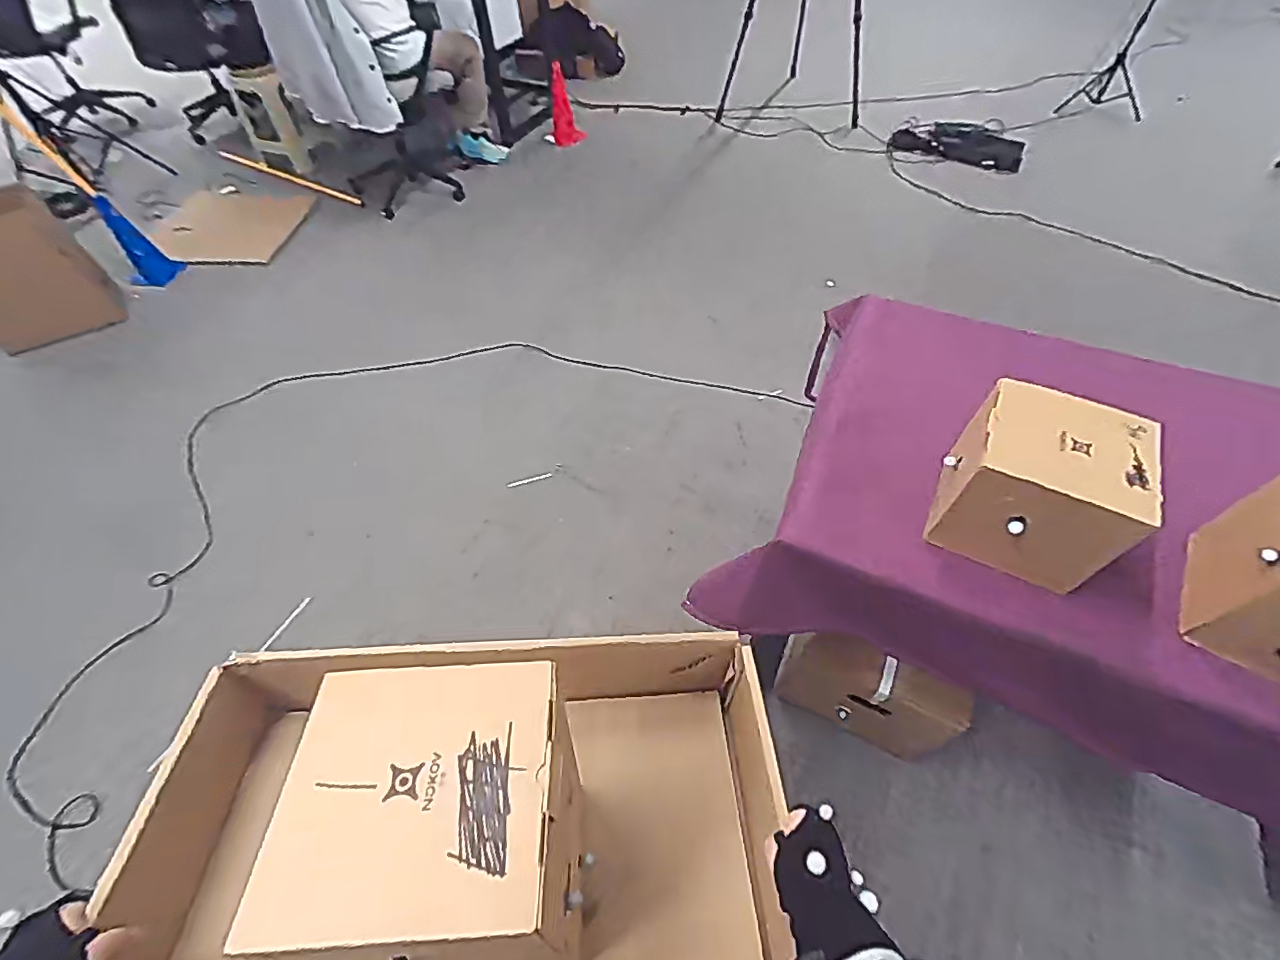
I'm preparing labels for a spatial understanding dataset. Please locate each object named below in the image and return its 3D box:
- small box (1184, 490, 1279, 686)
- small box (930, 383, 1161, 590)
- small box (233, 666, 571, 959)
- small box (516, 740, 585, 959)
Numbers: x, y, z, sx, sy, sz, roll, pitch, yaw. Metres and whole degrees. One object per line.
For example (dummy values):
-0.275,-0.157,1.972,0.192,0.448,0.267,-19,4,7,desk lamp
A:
0.759,0.121,0.594,0.168,0.176,0.179,28,60,21,small box
0.496,0.012,0.681,0.179,0.176,0.168,23,59,19,small box
-0.148,0.261,0.421,0.179,0.176,0.168,-2,45,-2,small box
-0.150,0.376,0.538,0.179,0.176,0.168,-2,45,-3,small box
